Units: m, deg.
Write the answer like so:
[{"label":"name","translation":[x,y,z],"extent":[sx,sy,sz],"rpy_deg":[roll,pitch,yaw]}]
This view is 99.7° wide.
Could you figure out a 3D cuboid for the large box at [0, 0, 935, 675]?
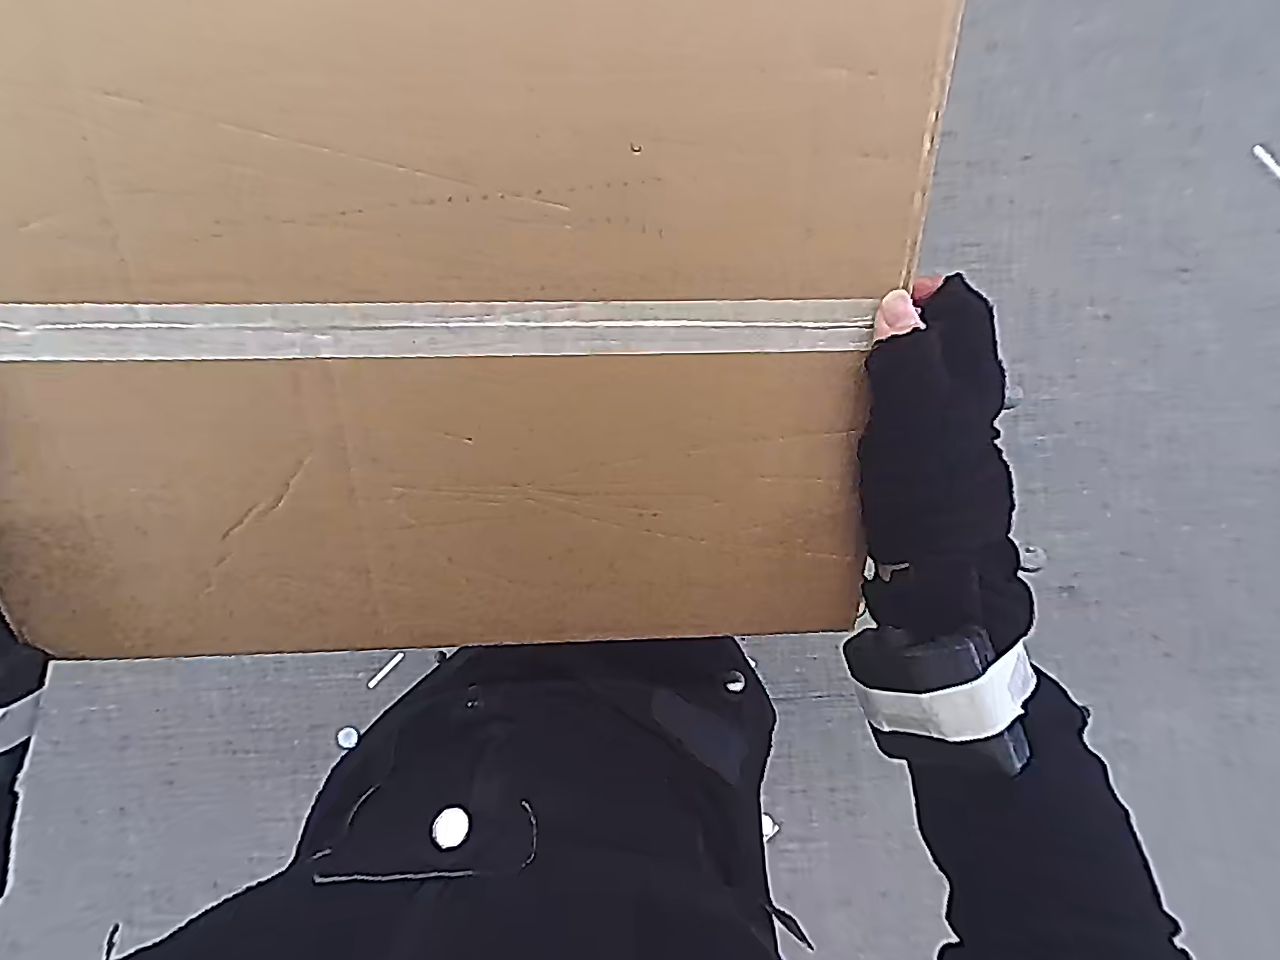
[{"label":"large box","translation":[-0.099,-0.103,0.369],"extent":[0.408,0.320,0.320],"rpy_deg":[-1,111,-3]}]
